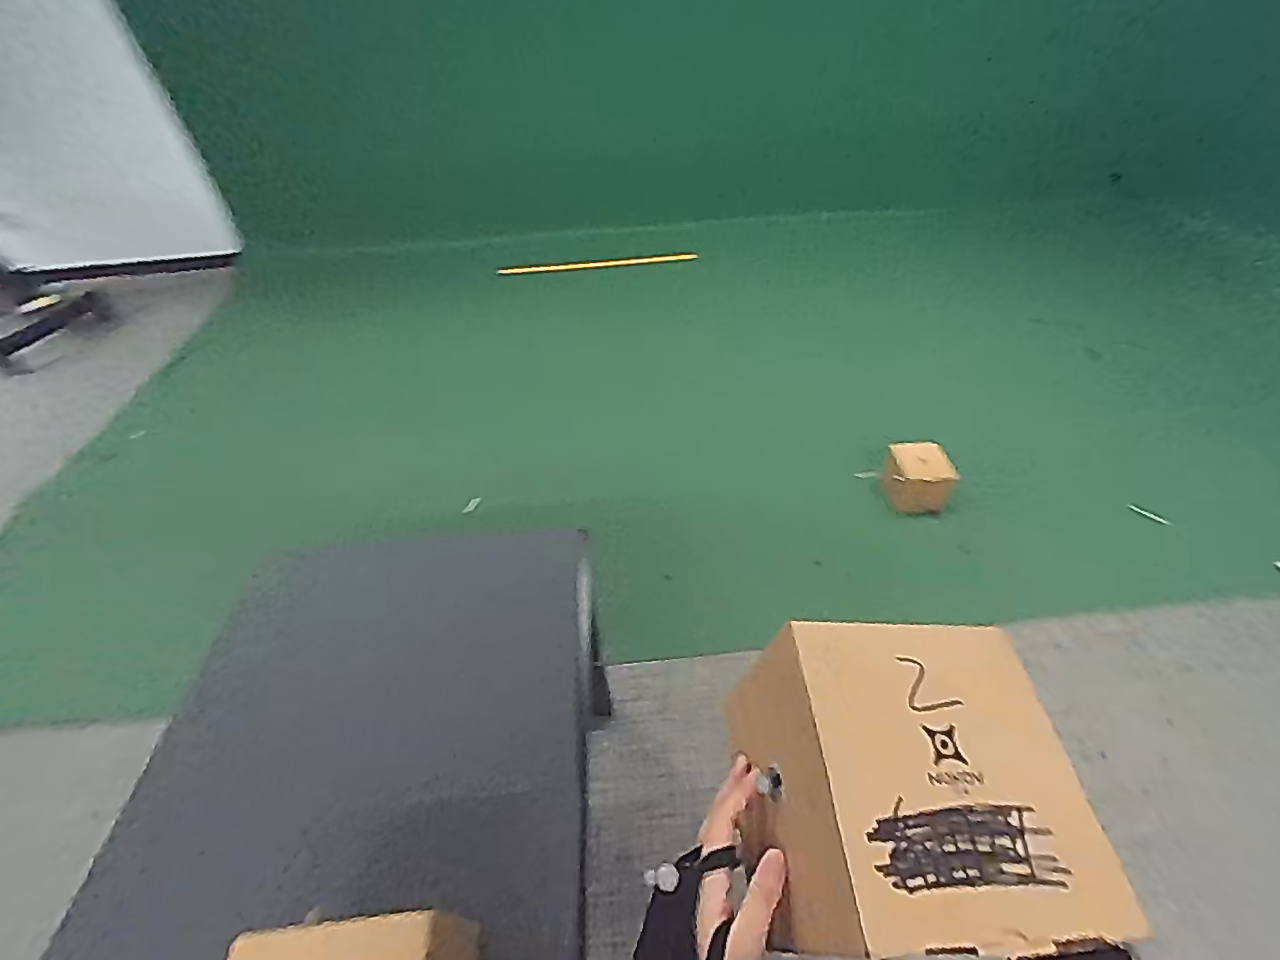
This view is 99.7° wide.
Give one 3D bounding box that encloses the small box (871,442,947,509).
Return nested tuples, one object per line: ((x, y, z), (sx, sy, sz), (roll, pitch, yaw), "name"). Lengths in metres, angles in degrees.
((0.956, -0.017, 1.944), (0.168, 0.176, 0.179), (-3, 46, -1), "small box")

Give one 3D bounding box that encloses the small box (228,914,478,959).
((-0.262, 0.512, 0.484), (0.179, 0.176, 0.168), (-7, 47, -3), "small box")
